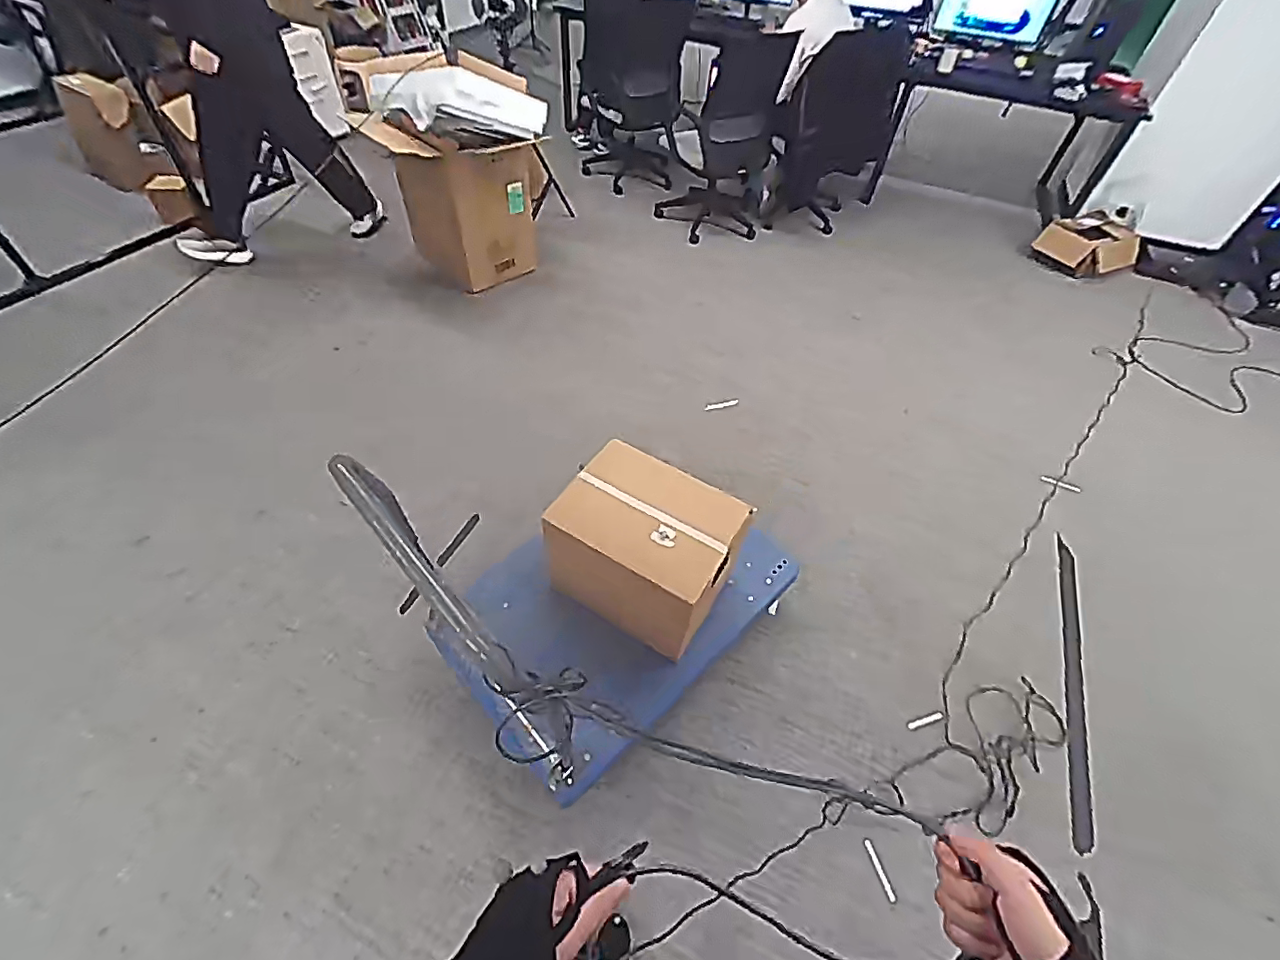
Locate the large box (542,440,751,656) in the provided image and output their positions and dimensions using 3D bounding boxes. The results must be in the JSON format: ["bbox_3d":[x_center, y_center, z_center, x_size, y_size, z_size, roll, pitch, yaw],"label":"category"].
[{"bbox_3d":[0.008,0.168,1.368,0.408,0.320,0.320,27,54,16],"label":"large box"}]
